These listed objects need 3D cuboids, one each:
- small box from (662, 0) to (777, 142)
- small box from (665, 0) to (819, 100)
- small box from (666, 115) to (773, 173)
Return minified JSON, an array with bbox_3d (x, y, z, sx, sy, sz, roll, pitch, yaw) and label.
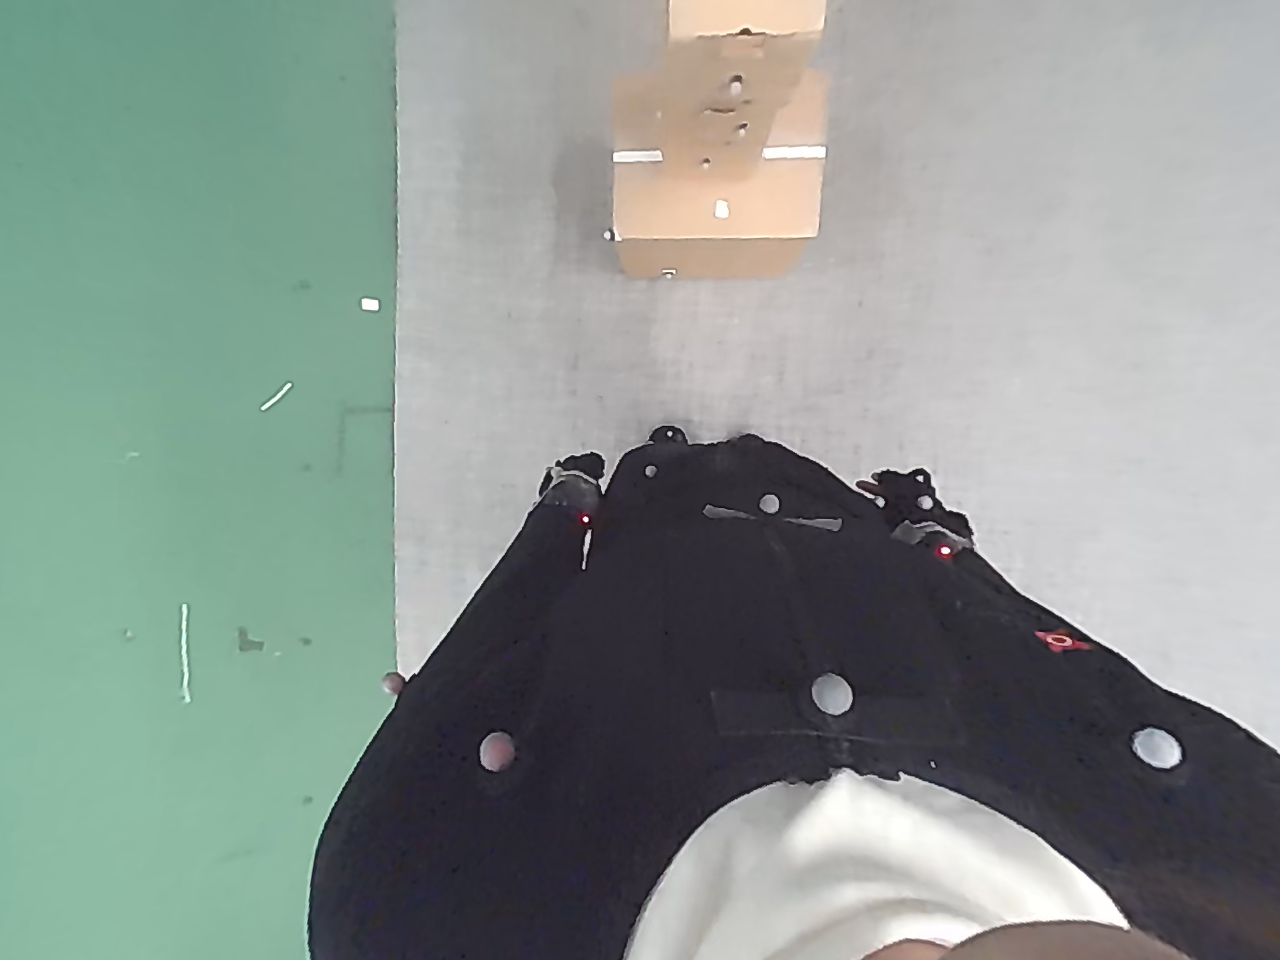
[{"bbox_3d":[0.121,-0.623,0.799,0.168,0.176,0.179,2,102,4],"label":"small box"},{"bbox_3d":[0.119,-0.579,0.641,0.168,0.176,0.179,3,104,5],"label":"small box"},{"bbox_3d":[0.137,-0.658,0.956,0.179,0.176,0.168,1,103,5],"label":"small box"}]
